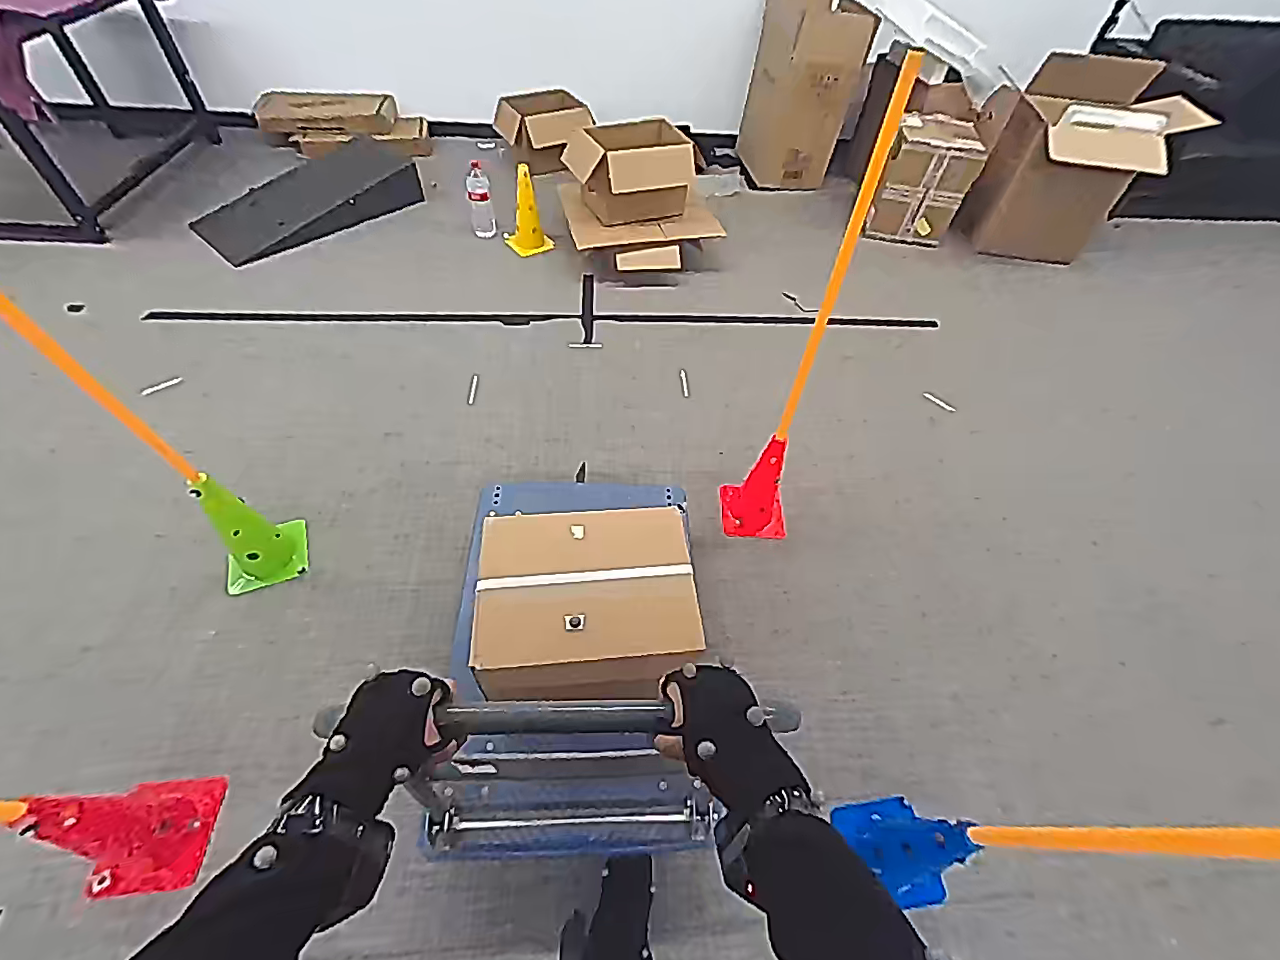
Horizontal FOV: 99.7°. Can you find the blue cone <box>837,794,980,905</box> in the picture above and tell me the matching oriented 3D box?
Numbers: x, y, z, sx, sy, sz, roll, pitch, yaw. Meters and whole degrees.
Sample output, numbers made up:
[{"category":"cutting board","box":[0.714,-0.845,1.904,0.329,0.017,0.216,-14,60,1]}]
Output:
[{"category":"blue cone","box":[0.560,0.708,1.067,0.193,0.380,0.192,-4,51,-8]}]

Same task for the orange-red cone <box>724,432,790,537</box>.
[{"category":"orange-red cone","box":[0.379,-0.010,1.598,0.199,0.360,0.198,5,52,-2]}]
